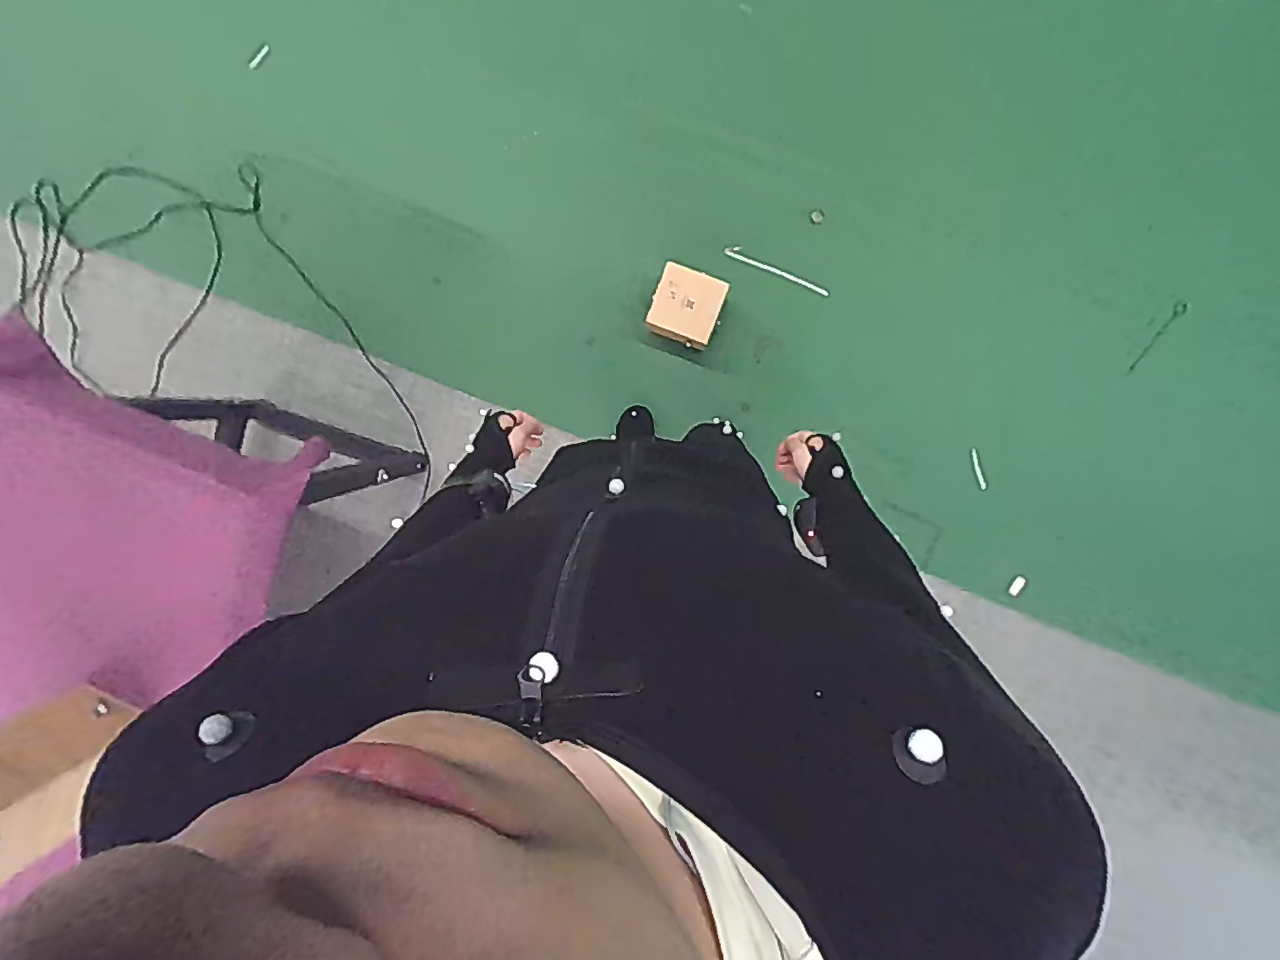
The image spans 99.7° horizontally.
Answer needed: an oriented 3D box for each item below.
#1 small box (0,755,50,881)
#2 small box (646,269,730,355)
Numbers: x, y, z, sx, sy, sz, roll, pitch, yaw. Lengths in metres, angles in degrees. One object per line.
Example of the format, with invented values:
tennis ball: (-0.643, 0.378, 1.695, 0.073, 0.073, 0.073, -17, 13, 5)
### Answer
small box: (-1.051, 0.530, 0.800, 0.168, 0.176, 0.179, 26, 98, 1)
small box: (0.131, -0.452, 1.488, 0.179, 0.176, 0.168, 22, 97, 1)
